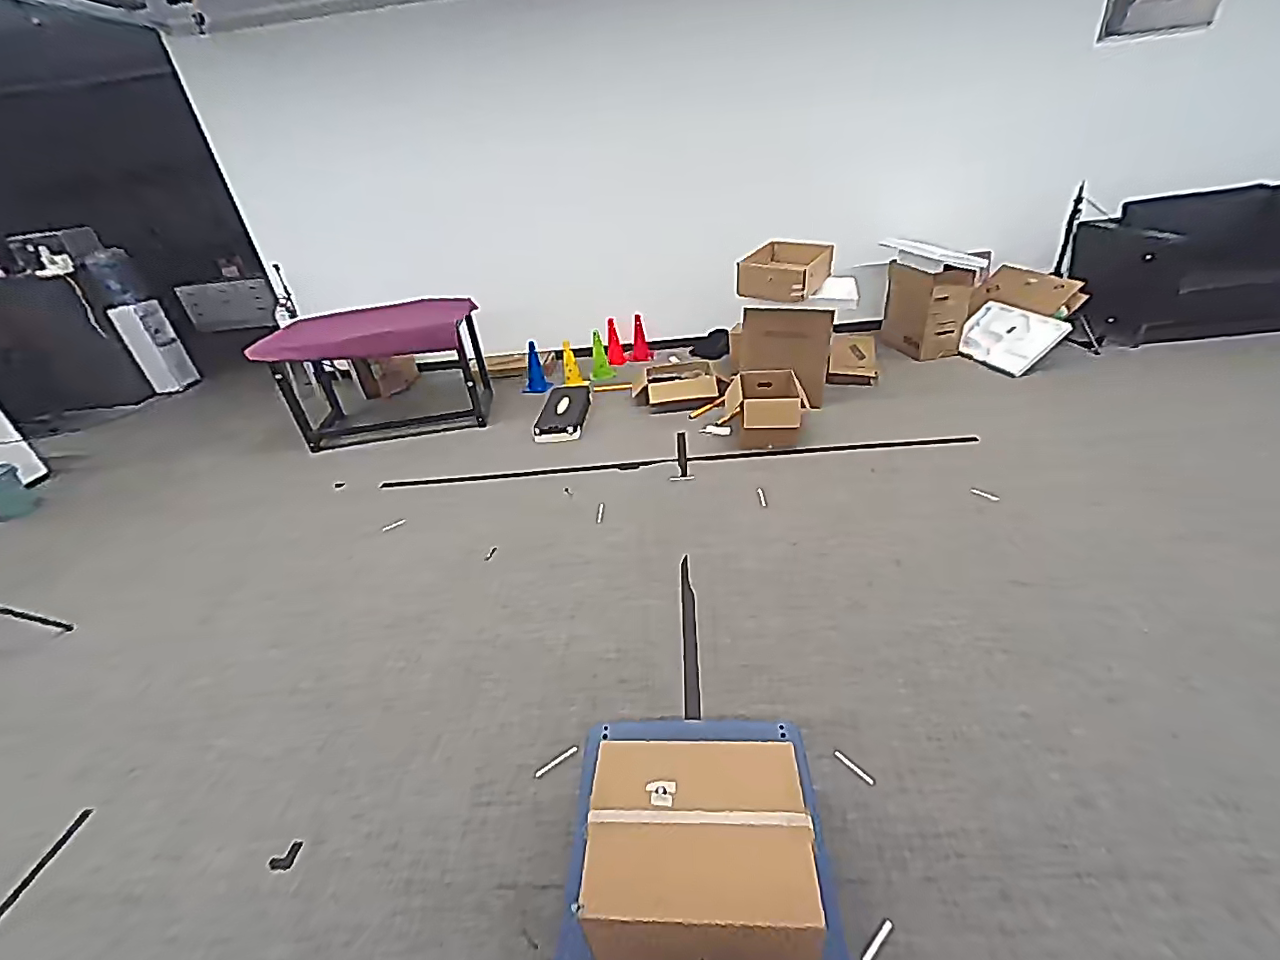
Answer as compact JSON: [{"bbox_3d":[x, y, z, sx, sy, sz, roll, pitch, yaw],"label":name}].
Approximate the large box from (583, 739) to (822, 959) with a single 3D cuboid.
[{"bbox_3d":[0.125,0.764,1.100,0.408,0.320,0.320,-4,32,7],"label":"large box"}]
